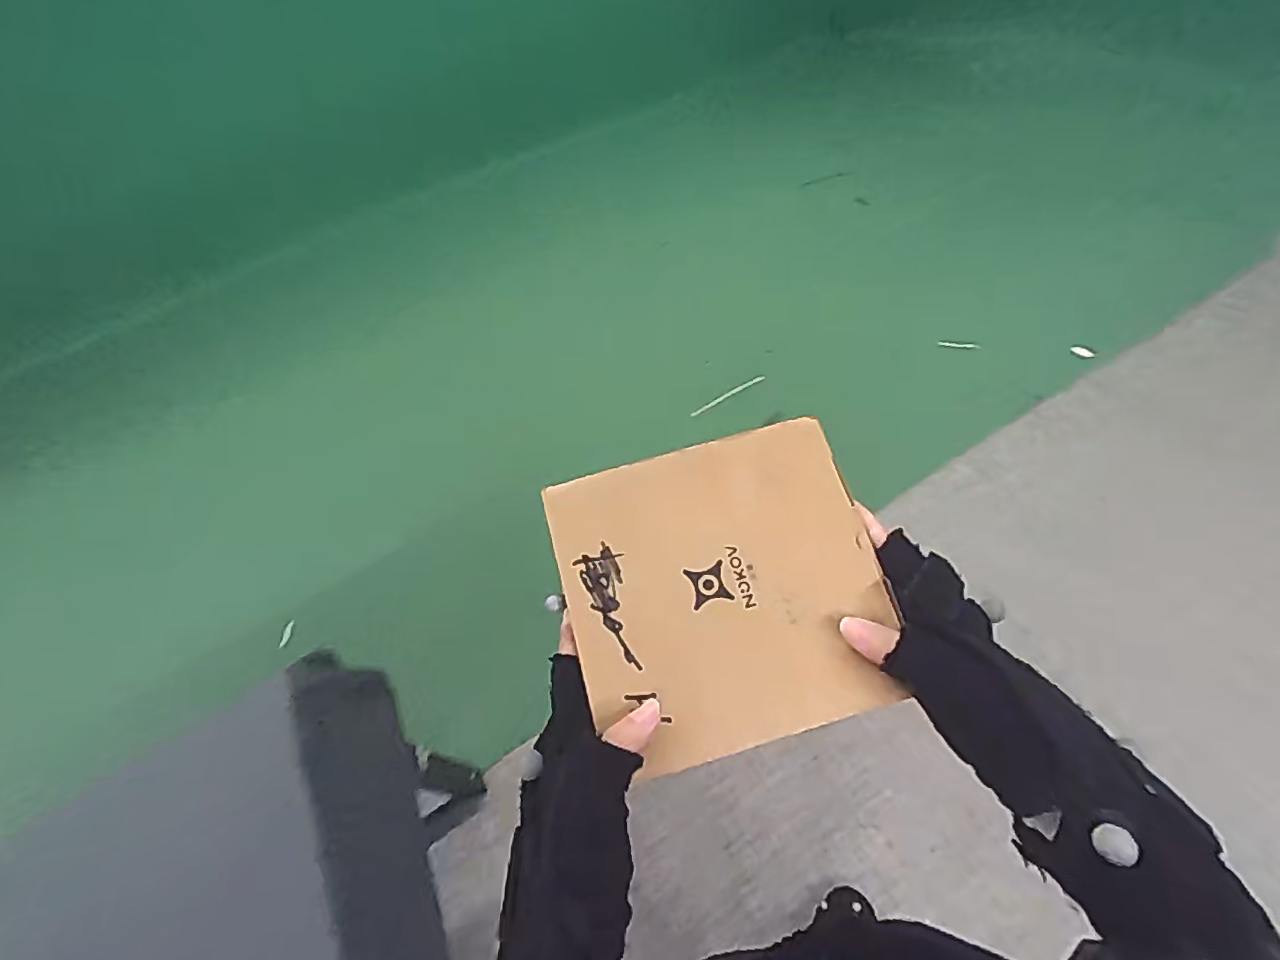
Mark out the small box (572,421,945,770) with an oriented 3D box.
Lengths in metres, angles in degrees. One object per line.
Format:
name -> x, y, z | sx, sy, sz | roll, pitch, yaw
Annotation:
small box -> 0.061, 0.083, 0.379 | 0.179, 0.176, 0.168 | -13, 69, -4
